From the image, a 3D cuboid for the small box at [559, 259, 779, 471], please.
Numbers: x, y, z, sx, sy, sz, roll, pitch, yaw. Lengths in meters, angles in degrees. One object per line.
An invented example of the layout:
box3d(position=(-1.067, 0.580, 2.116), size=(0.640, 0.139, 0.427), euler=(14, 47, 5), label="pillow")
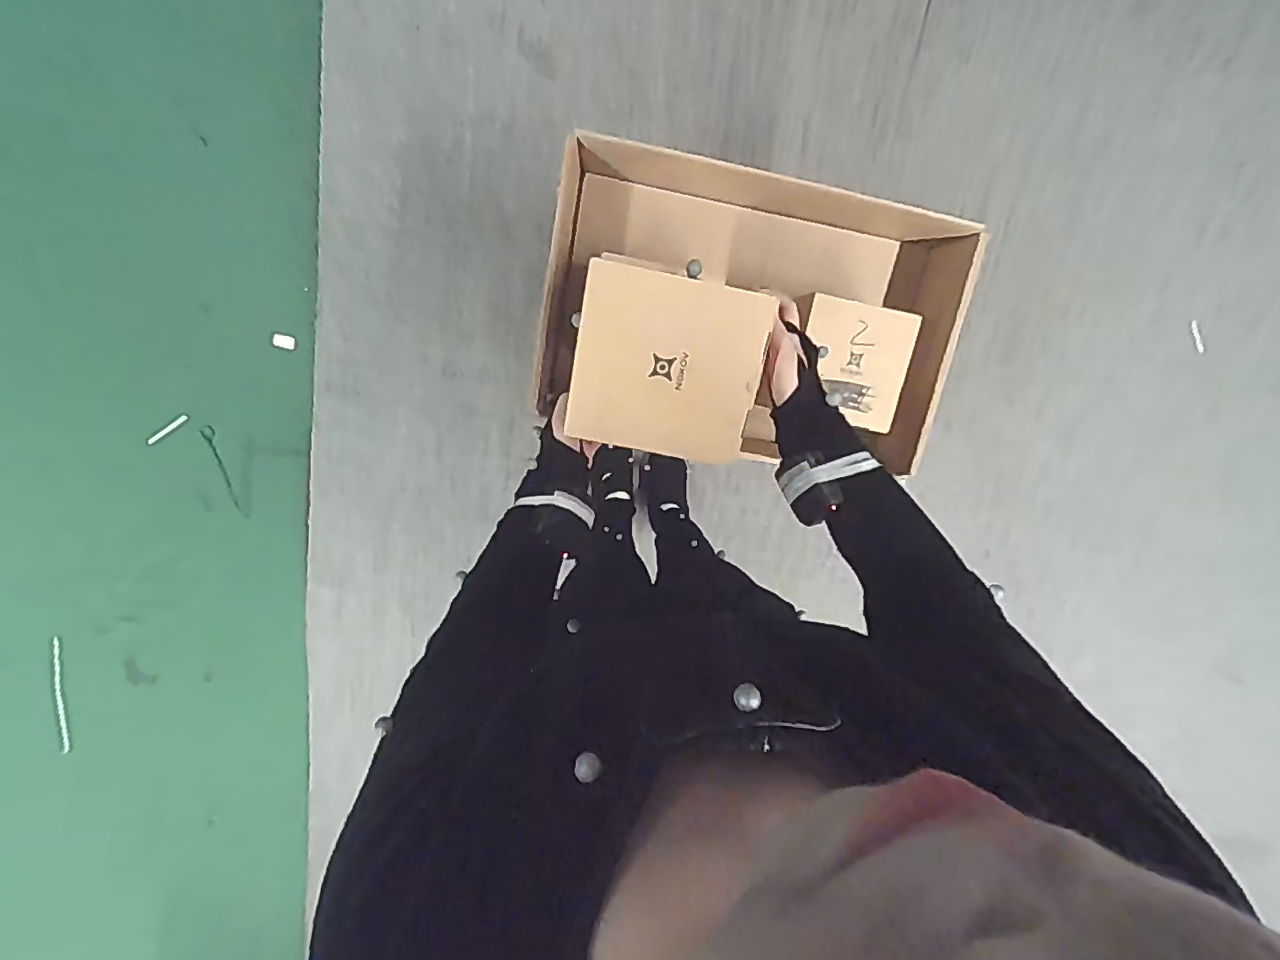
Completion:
box3d(position=(0.023, -0.124, 0.575), size=(0.179, 0.176, 0.168), euler=(11, 108, -4), label="small box")
